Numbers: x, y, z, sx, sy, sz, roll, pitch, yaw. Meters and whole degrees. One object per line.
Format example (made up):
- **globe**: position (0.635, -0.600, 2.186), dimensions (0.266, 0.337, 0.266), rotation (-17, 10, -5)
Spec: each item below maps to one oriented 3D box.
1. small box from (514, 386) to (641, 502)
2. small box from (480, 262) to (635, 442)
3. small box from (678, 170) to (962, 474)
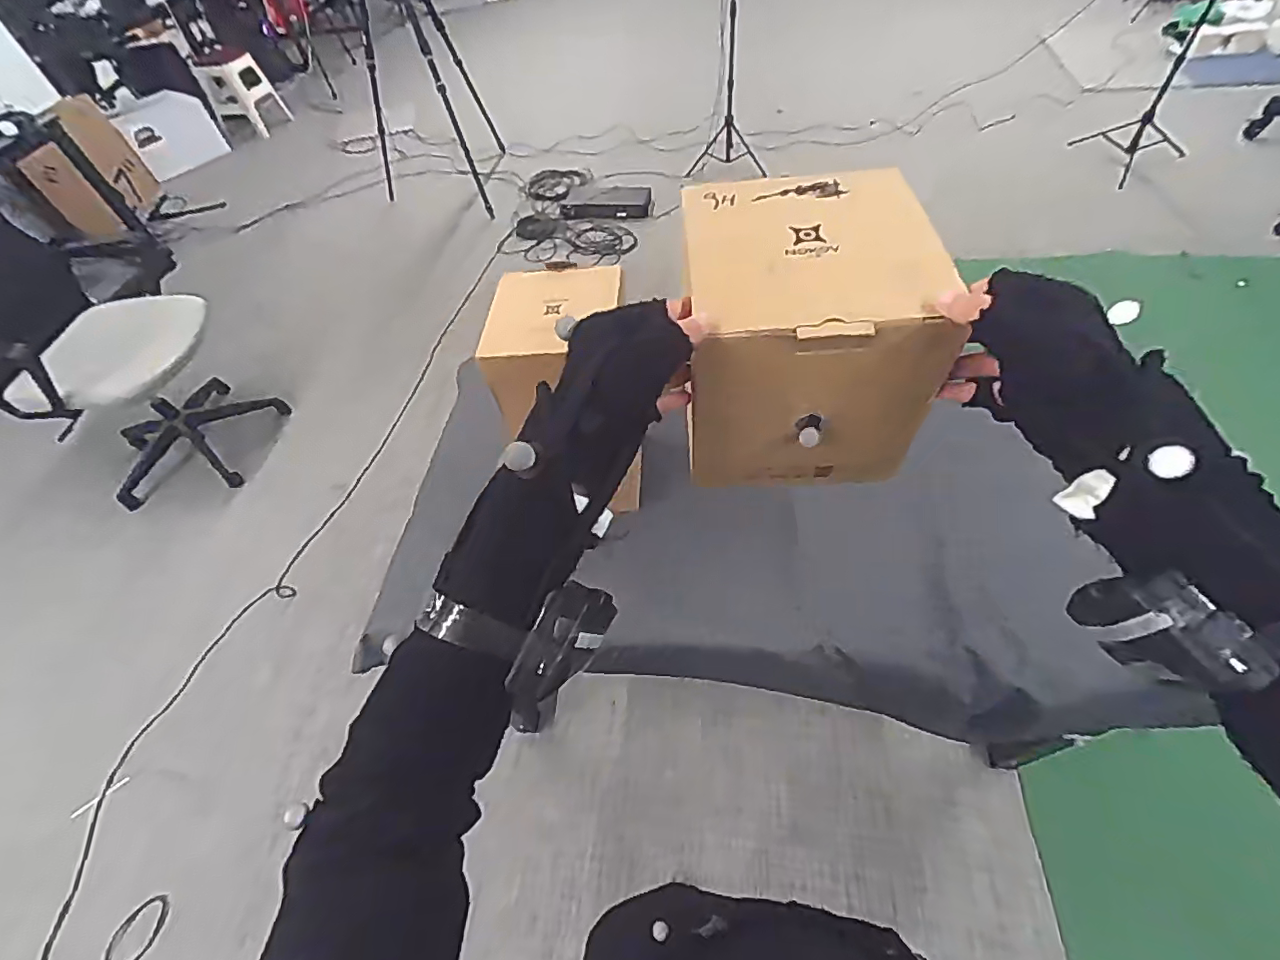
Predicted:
- **small box**: position (-0.088, -0.076, 0.870), dimensions (0.168, 0.176, 0.179), rotation (-1, 53, 5)
- **small box**: position (-0.099, -0.172, 0.740), dimensions (0.168, 0.176, 0.179), rotation (-2, 55, 5)
- **small box**: position (0.117, -0.115, 0.434), dimensions (0.168, 0.176, 0.179), rotation (-2, 56, 3)
